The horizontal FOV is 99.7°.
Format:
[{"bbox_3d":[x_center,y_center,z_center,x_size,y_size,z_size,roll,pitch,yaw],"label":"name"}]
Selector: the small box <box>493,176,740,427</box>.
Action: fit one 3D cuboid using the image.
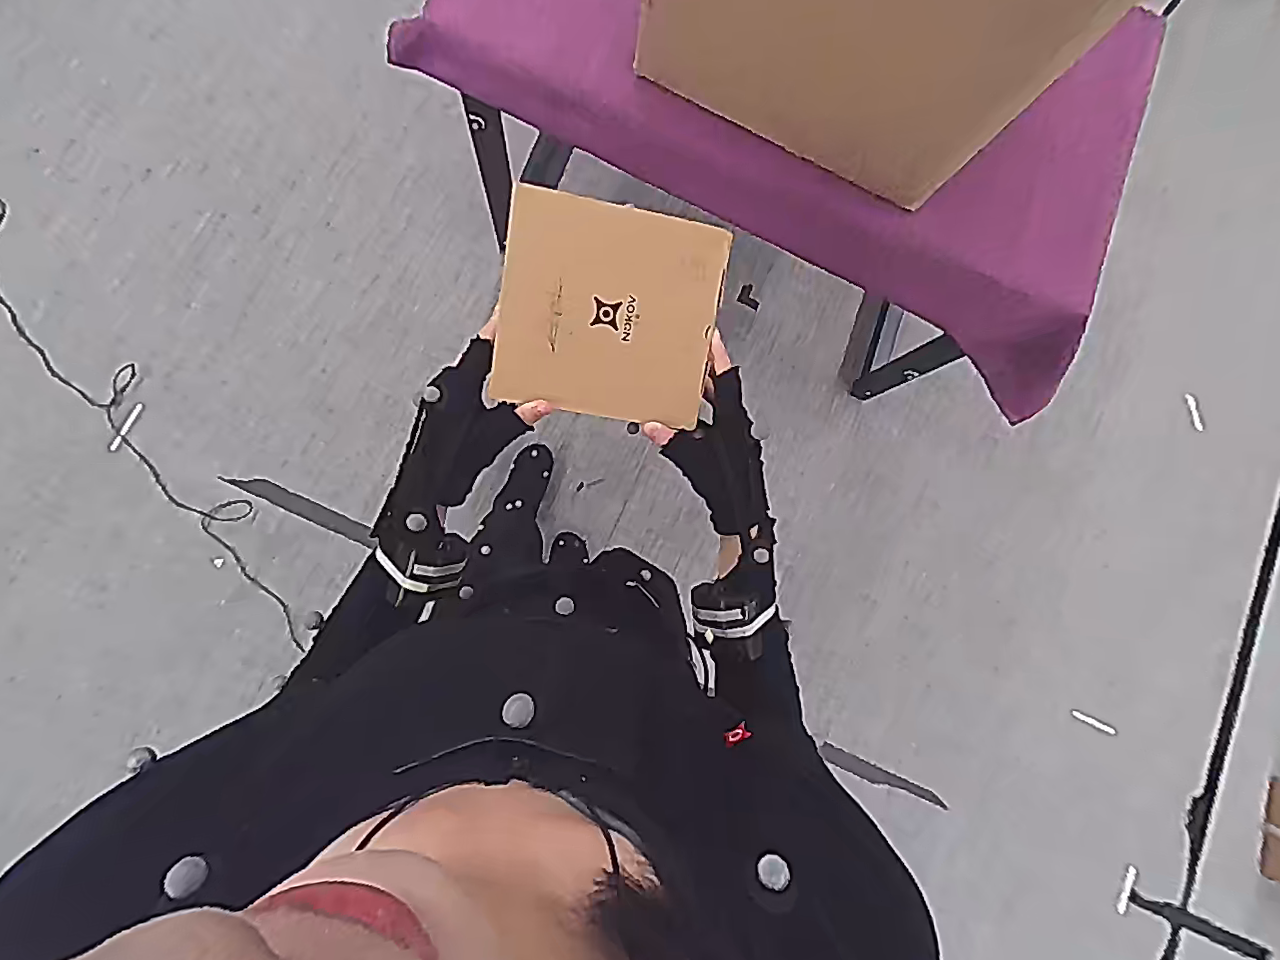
[{"bbox_3d":[-0.028,-0.148,0.501,0.179,0.176,0.168,8,98,-9],"label":"small box"}]
